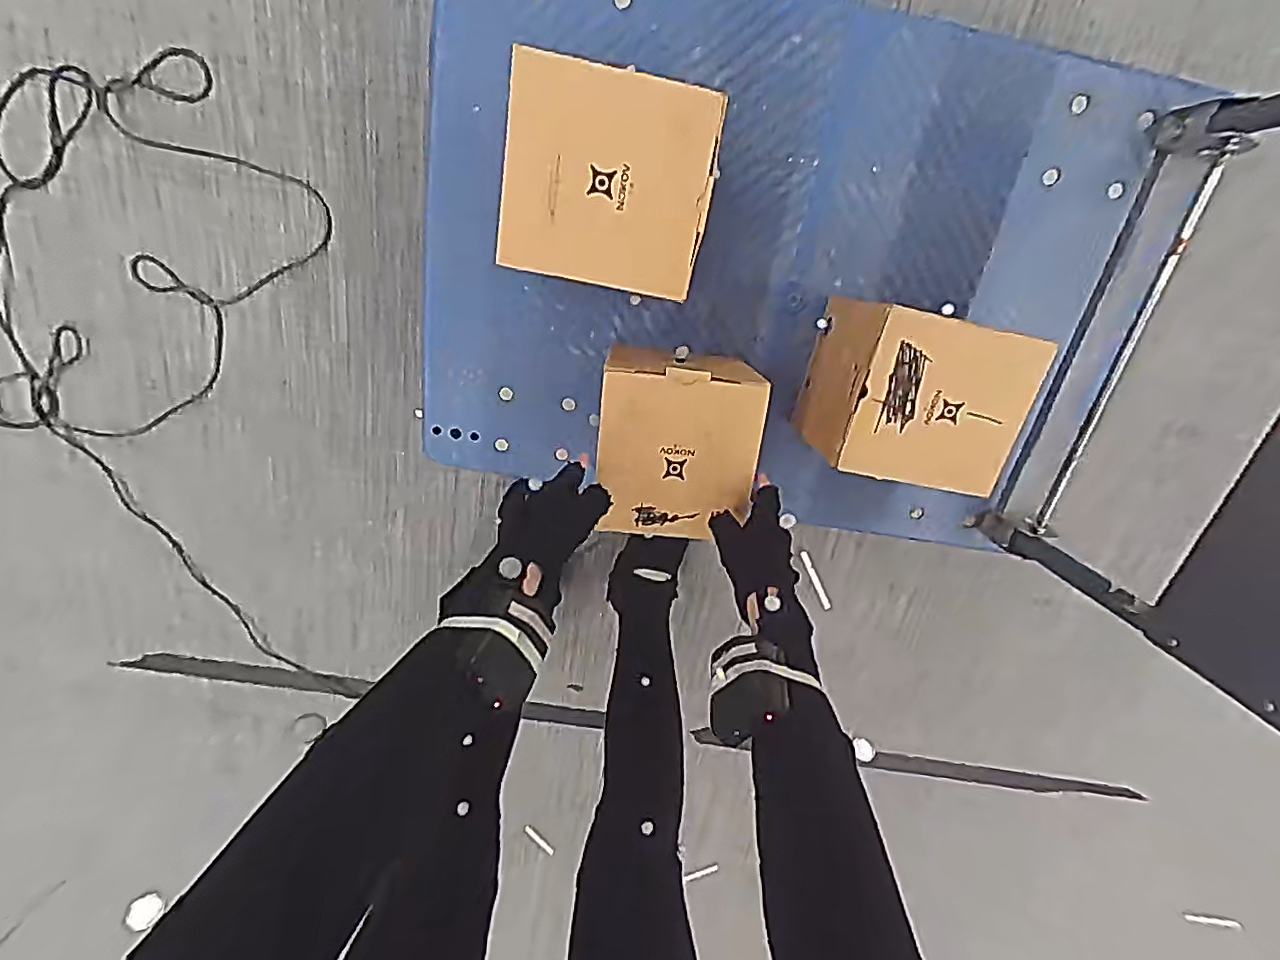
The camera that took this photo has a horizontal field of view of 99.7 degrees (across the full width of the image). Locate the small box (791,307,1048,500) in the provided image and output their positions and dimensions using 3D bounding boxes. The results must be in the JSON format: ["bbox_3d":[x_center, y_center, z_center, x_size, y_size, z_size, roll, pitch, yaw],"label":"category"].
[{"bbox_3d":[0.292,-0.097,0.616,0.179,0.176,0.168,11,110,-6],"label":"small box"}]

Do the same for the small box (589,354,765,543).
[{"bbox_3d":[0.033,-0.047,0.632,0.168,0.176,0.179,6,110,-3],"label":"small box"}]

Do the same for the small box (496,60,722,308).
[{"bbox_3d":[-0.032,-0.277,0.541,0.179,0.176,0.168,9,110,-4],"label":"small box"}]
